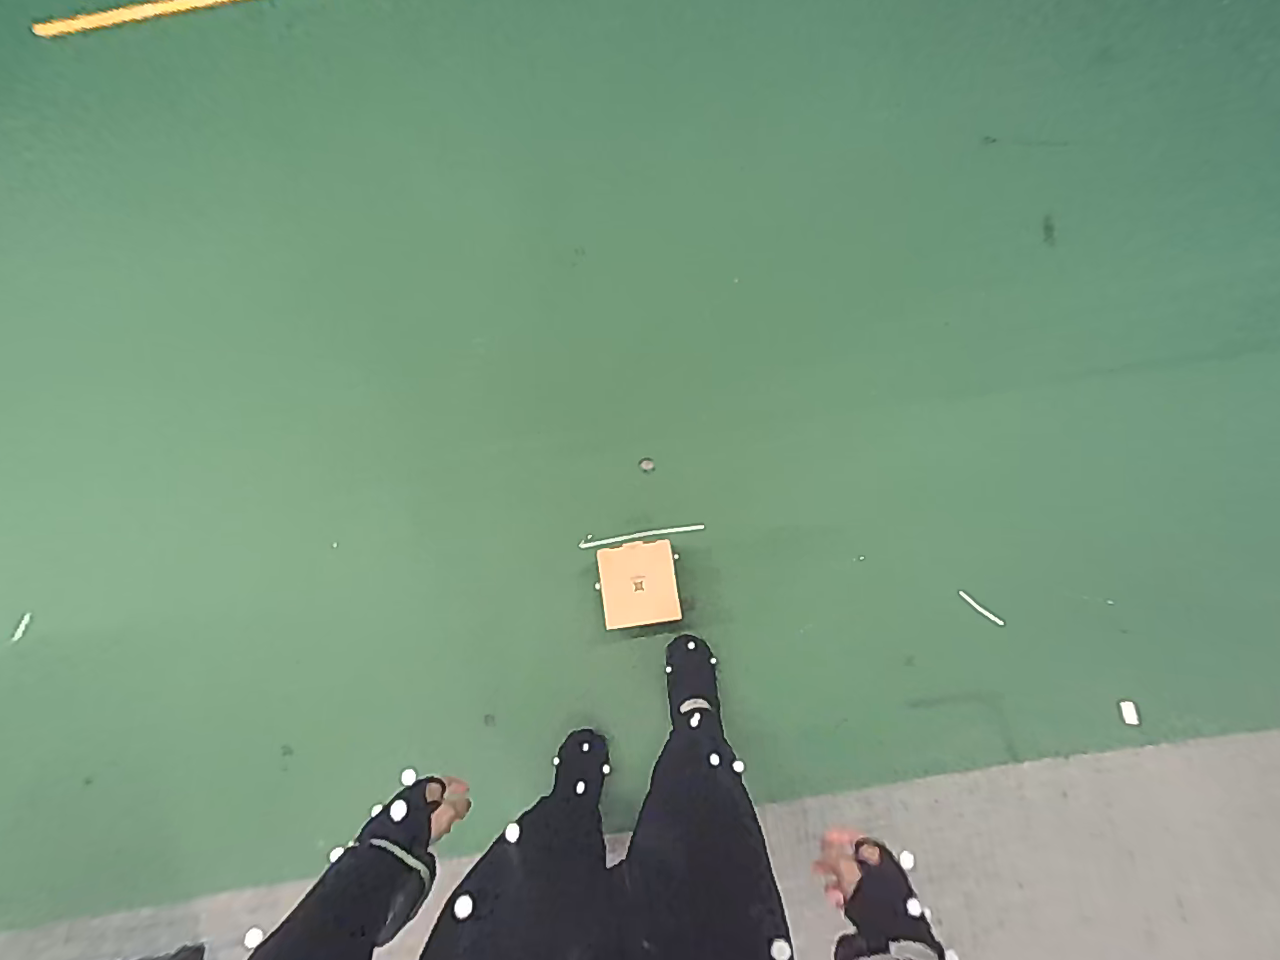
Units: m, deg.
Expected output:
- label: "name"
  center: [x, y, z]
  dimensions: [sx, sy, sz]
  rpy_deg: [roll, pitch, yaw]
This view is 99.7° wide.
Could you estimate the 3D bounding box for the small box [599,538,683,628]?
- label: "small box"
  center: [0.007, 0.239, 1.257]
  dimensions: [0.168, 0.176, 0.179]
  rpy_deg: [-10, 77, 2]
